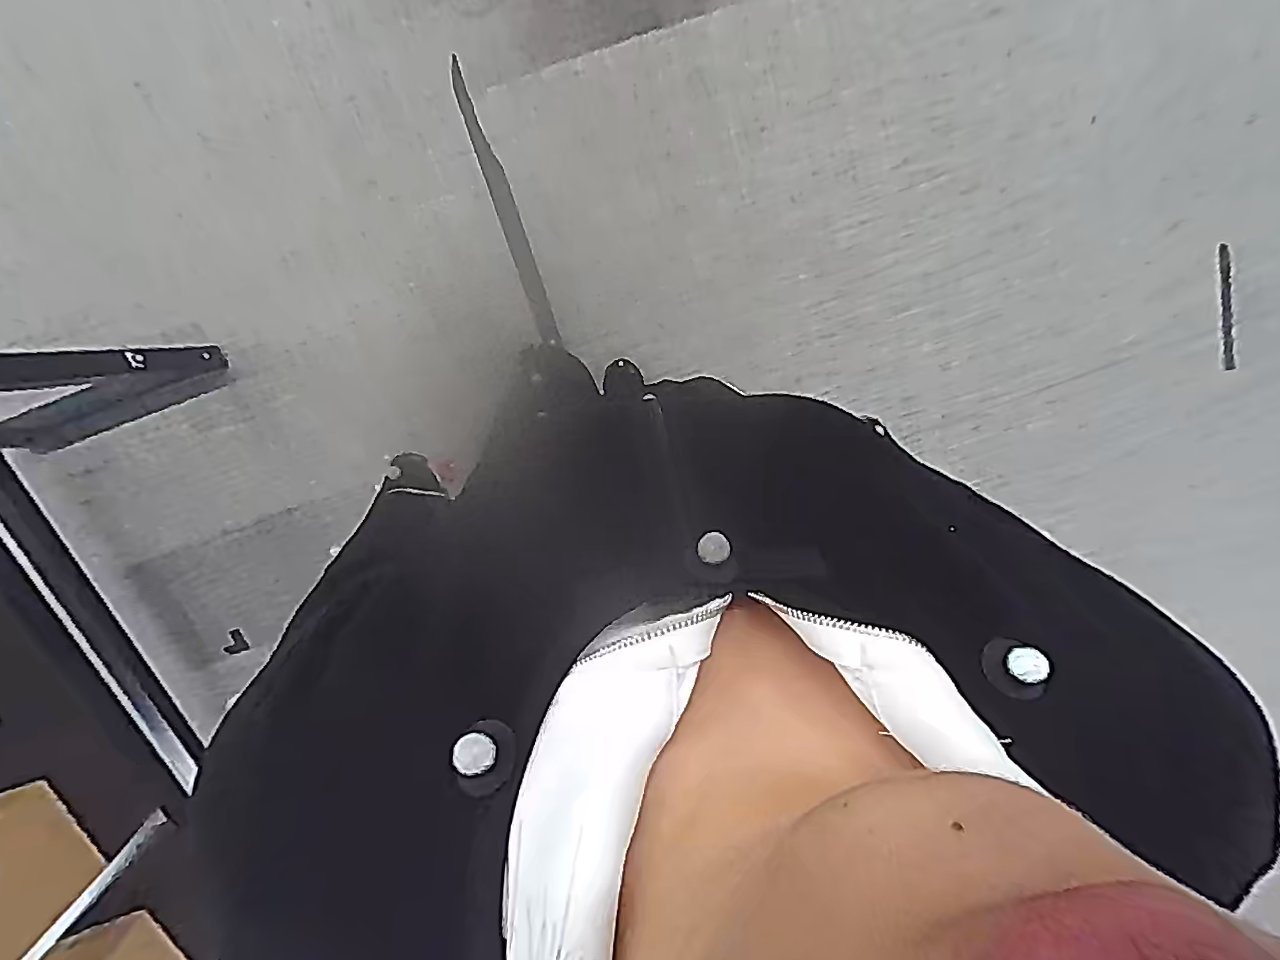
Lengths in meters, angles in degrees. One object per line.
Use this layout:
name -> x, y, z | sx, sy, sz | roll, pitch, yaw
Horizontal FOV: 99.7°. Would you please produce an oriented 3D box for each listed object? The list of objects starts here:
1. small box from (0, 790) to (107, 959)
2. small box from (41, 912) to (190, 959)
small box -> -0.913, 0.560, 0.737 | 0.168, 0.176, 0.179 | -18, 106, 1
small box -> -0.826, 0.808, 0.811 | 0.168, 0.176, 0.179 | -21, 106, 1
